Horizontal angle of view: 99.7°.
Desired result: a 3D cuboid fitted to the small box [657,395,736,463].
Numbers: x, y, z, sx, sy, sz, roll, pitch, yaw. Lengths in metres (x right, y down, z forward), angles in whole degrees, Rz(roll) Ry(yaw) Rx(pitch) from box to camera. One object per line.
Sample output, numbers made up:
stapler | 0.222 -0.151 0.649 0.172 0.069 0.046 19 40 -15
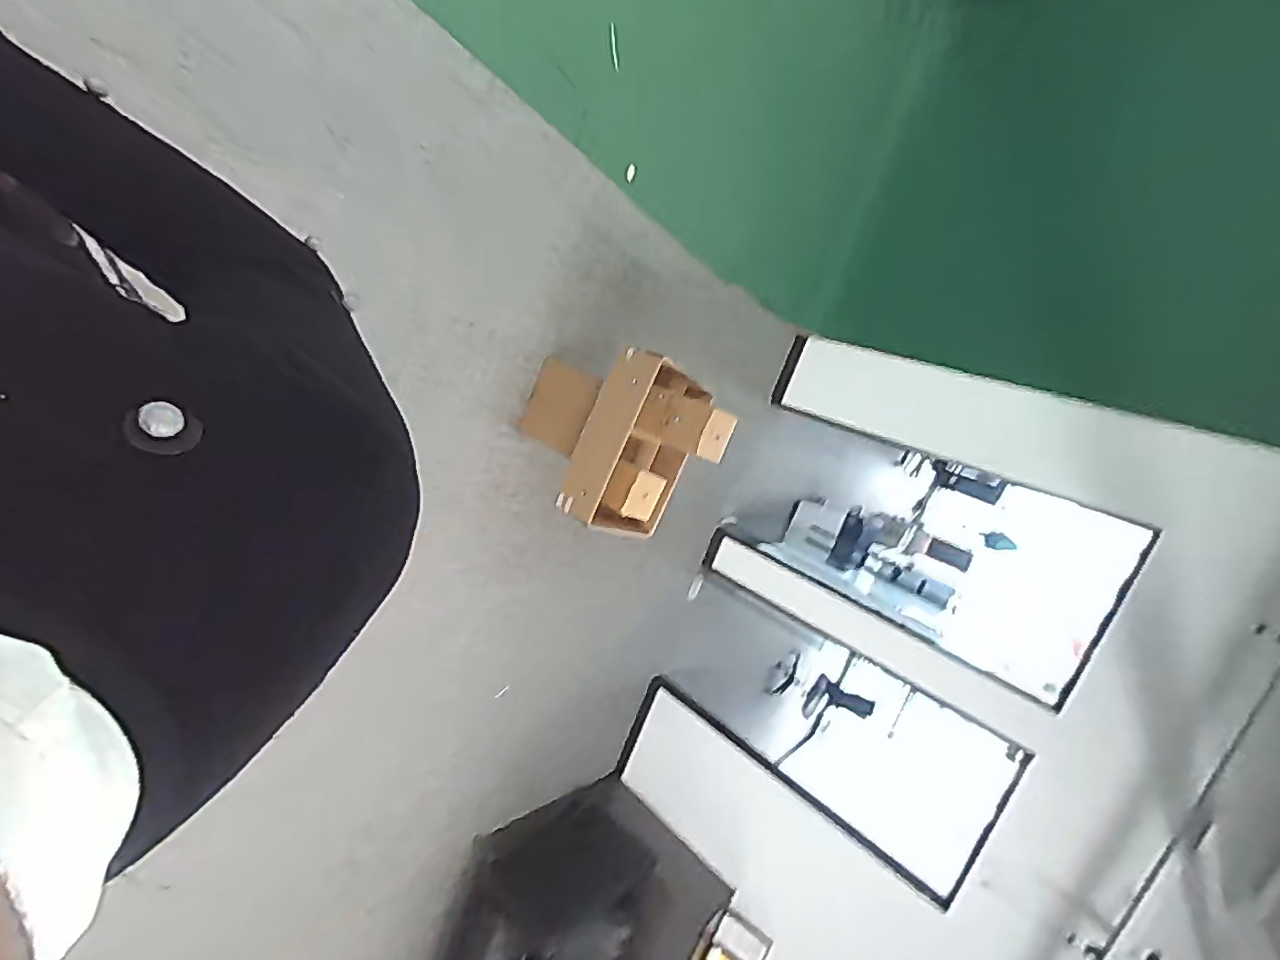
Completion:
small box | 0.189 -0.173 1.820 0.179 0.176 0.168 14 100 -54

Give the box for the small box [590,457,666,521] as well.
small box | -0.045 0.031 1.941 0.179 0.176 0.168 21 95 -54
